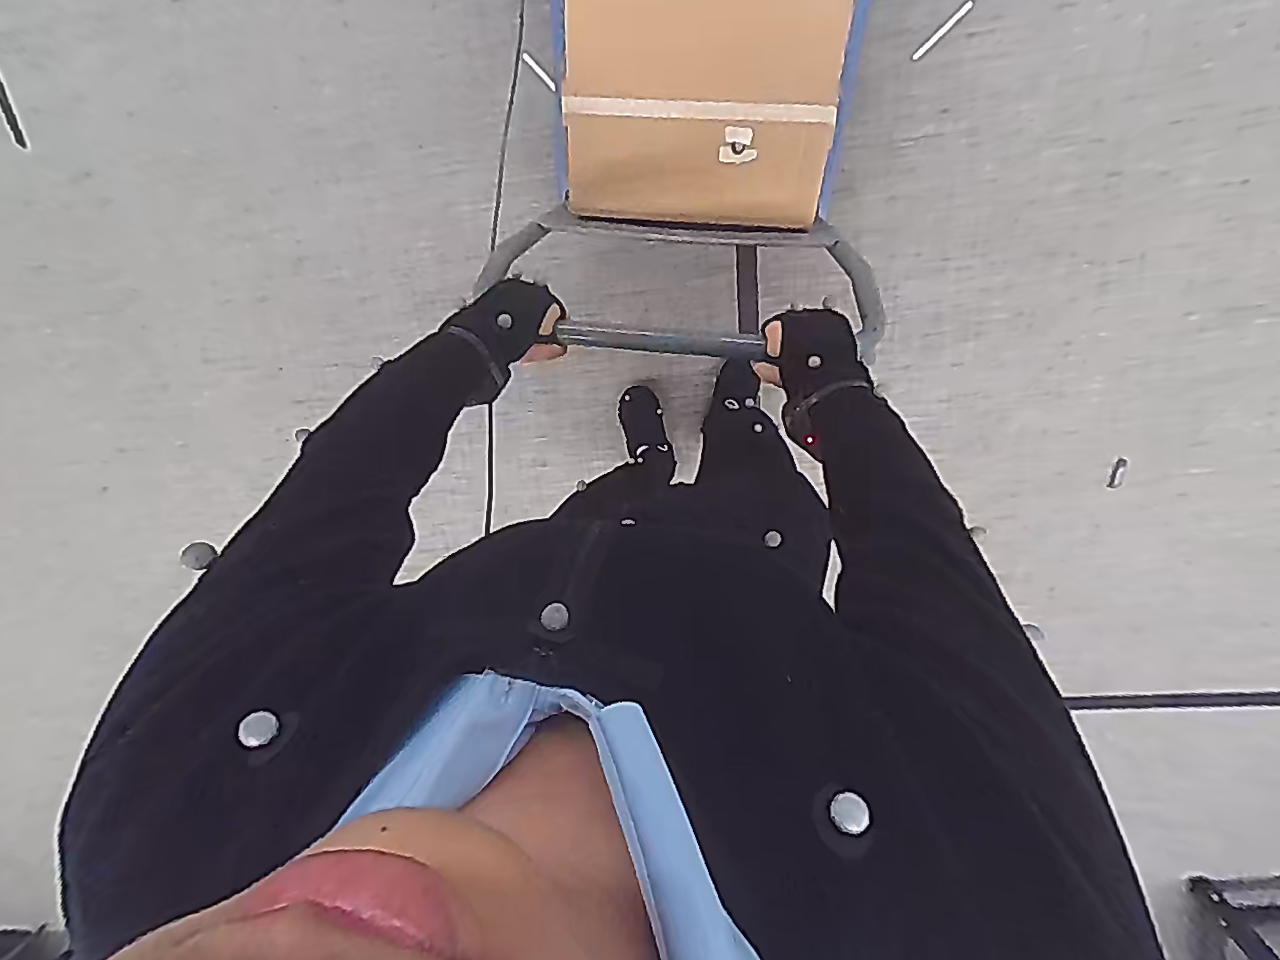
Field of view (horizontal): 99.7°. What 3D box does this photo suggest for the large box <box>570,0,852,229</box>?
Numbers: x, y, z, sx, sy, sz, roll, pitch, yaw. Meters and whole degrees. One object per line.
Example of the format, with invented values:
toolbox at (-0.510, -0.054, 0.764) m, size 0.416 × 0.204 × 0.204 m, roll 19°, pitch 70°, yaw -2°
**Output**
large box at (0.106, -0.635, 0.961) m, size 0.408 × 0.320 × 0.320 m, roll 4°, pitch 122°, yaw 4°
